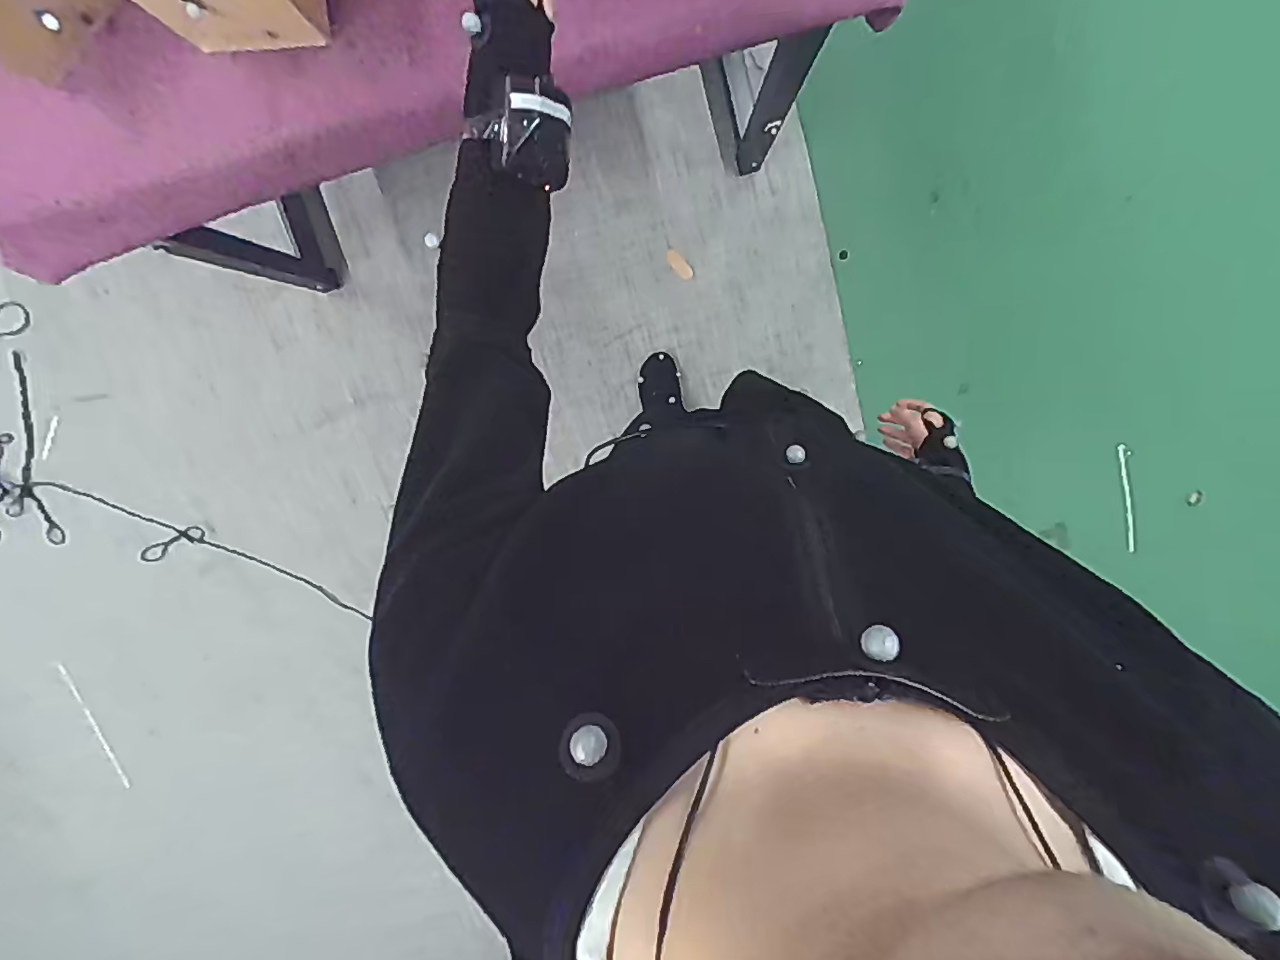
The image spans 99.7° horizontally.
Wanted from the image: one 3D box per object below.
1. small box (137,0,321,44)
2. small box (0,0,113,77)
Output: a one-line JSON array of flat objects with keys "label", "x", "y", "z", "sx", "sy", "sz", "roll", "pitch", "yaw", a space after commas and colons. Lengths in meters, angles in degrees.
[{"label": "small box", "x": -0.476, "y": -0.609, "z": 0.582, "sx": 0.168, "sy": 0.176, "sz": 0.179, "roll": -2, "pitch": 100, "yaw": 2}, {"label": "small box", "x": -0.754, "y": -0.600, "z": 0.583, "sx": 0.168, "sy": 0.176, "sz": 0.179, "roll": -42, "pitch": 98, "yaw": 8}]
